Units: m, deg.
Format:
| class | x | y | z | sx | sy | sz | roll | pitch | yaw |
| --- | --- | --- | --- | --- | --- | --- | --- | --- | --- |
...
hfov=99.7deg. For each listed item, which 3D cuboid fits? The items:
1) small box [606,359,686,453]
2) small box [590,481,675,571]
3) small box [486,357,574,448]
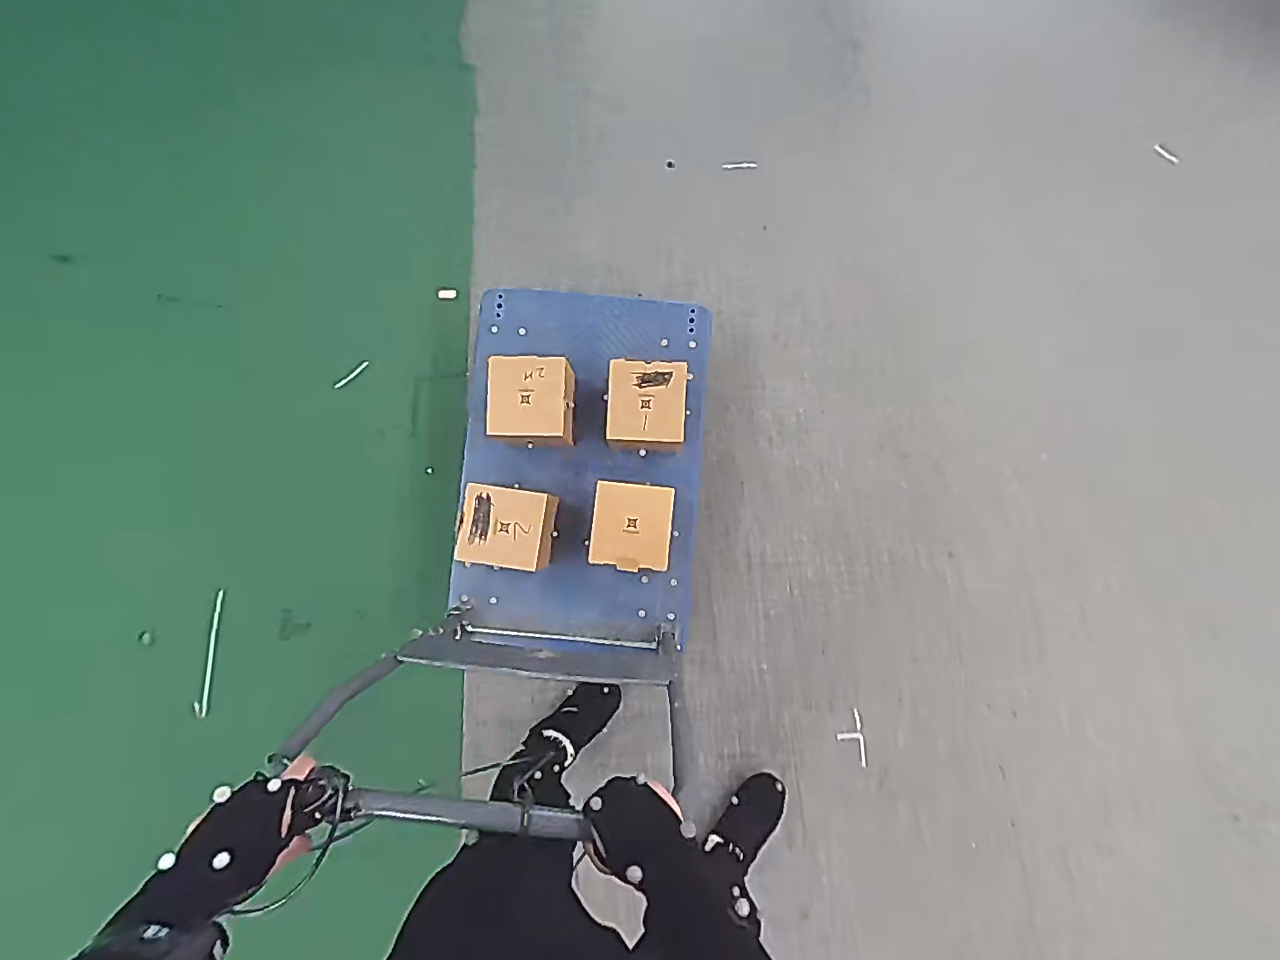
| class | x | y | z | sx | sy | sz | roll | pitch | yaw |
| --- | --- | --- | --- | --- | --- | --- | --- | --- | --- |
| small box | 0.014 | -0.161 | 1.223 | 0.168 | 0.176 | 0.179 | 2 | 85 | 2 |
| small box | -0.015 | 0.102 | 1.201 | 0.168 | 0.176 | 0.179 | 5 | 86 | 2 |
| small box | -0.243 | -0.169 | 1.229 | 0.168 | 0.176 | 0.179 | 1 | 84 | 1 |
